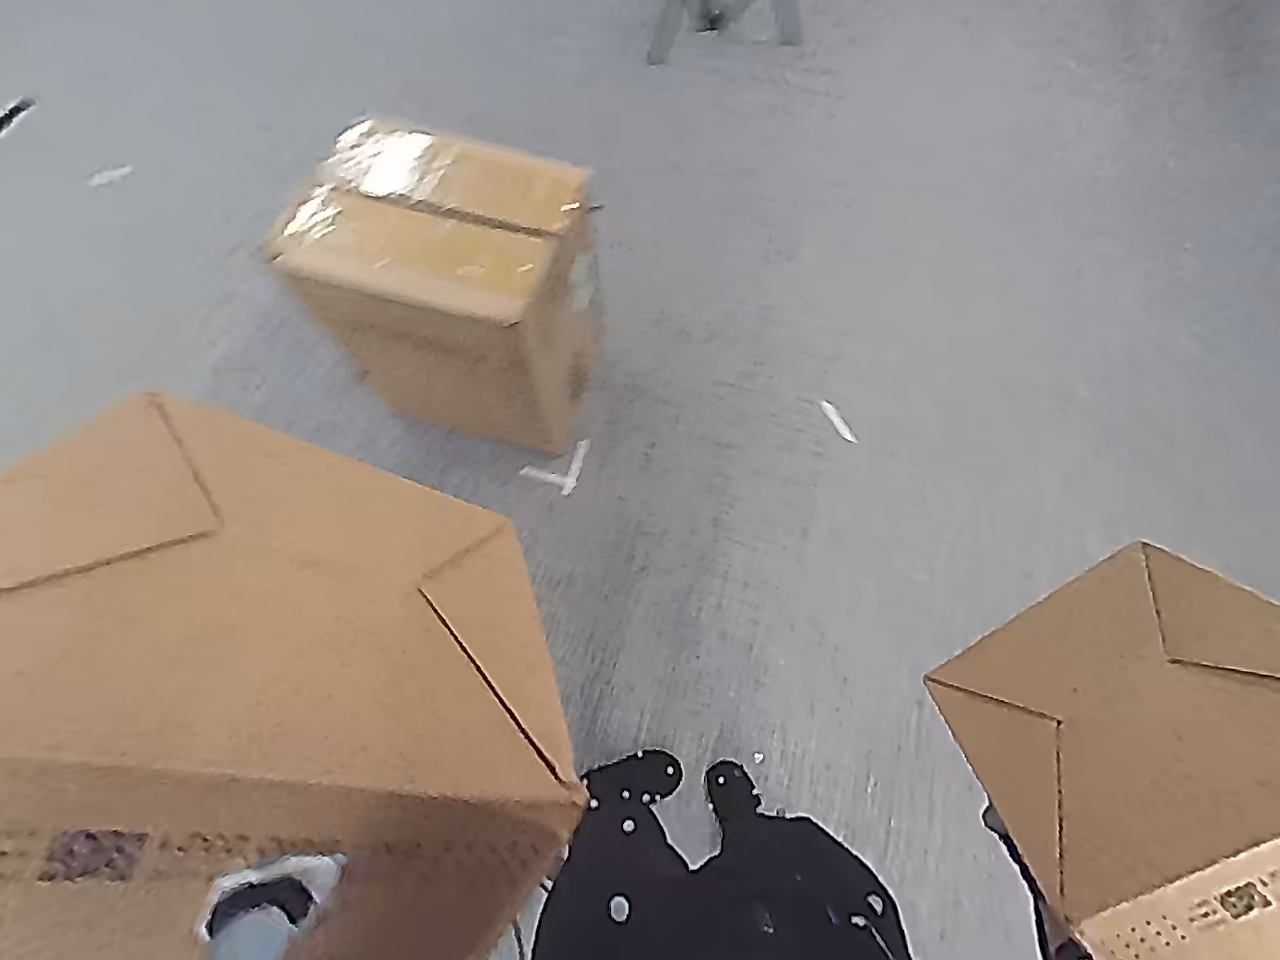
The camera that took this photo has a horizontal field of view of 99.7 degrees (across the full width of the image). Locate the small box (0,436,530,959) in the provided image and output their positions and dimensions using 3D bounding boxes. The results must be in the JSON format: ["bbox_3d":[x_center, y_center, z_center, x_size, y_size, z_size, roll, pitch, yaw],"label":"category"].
[{"bbox_3d":[-0.157,0.099,0.199,0.168,0.179,0.176,20,103,-29],"label":"small box"}]
